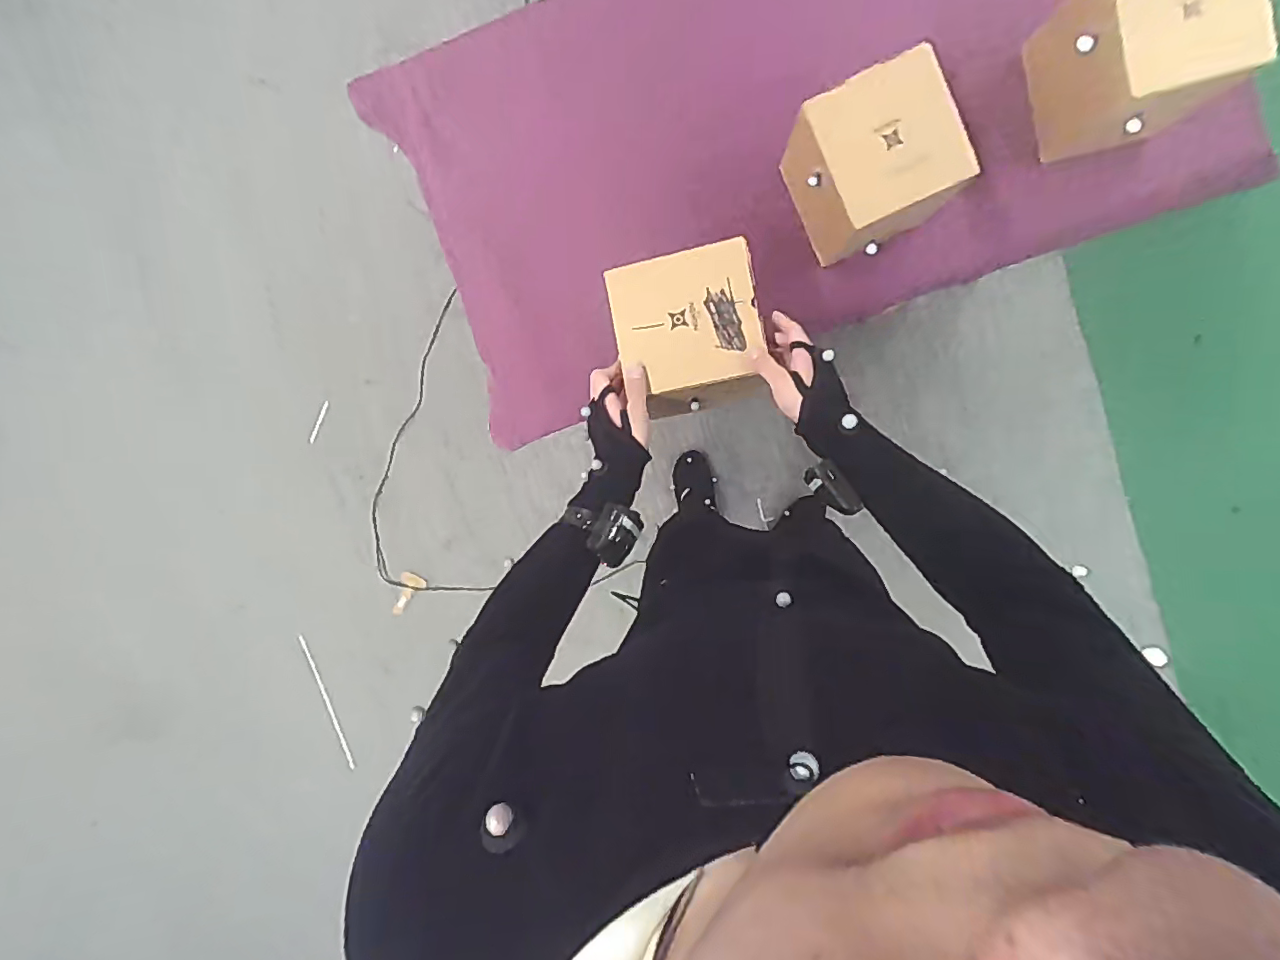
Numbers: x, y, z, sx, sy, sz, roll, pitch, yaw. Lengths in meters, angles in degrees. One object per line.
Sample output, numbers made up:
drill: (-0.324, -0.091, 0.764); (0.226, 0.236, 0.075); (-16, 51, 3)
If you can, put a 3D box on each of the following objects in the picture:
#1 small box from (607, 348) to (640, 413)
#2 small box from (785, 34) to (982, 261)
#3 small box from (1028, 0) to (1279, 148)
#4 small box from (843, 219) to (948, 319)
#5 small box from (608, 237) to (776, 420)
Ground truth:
small box: (0.029, -0.300, 1.502); (0.168, 0.176, 0.179); (-28, 93, 6)
small box: (0.316, -0.436, 0.742); (0.168, 0.176, 0.179); (-23, 93, 6)
small box: (0.655, -0.571, 0.709); (0.168, 0.176, 0.179); (-13, 93, 5)
small box: (0.669, -0.555, 1.439); (0.168, 0.176, 0.179); (-26, 93, 5)
small box: (0.069, -0.184, 0.707); (0.179, 0.176, 0.168); (-10, 85, 9)
